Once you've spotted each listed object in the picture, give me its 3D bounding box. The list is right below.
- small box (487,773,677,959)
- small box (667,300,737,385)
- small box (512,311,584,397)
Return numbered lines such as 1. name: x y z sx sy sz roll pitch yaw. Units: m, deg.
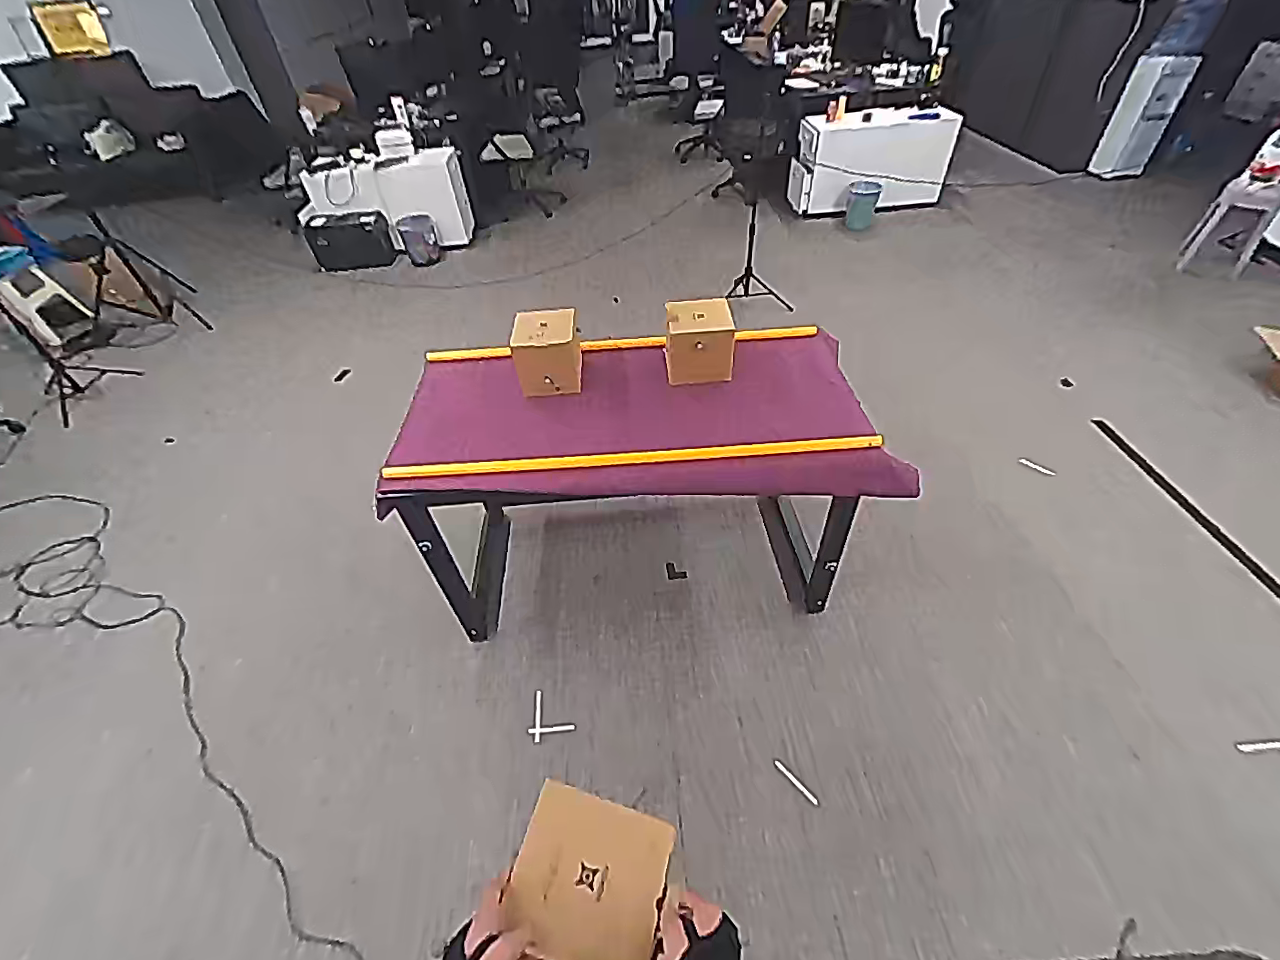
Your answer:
1. small box: -0.073 0.502 0.671 0.179 0.176 0.168 19 43 4
2. small box: 0.169 -0.385 1.527 0.179 0.176 0.168 -4 46 1
3. small box: -0.253 -0.357 1.532 0.168 0.176 0.179 -4 47 1
